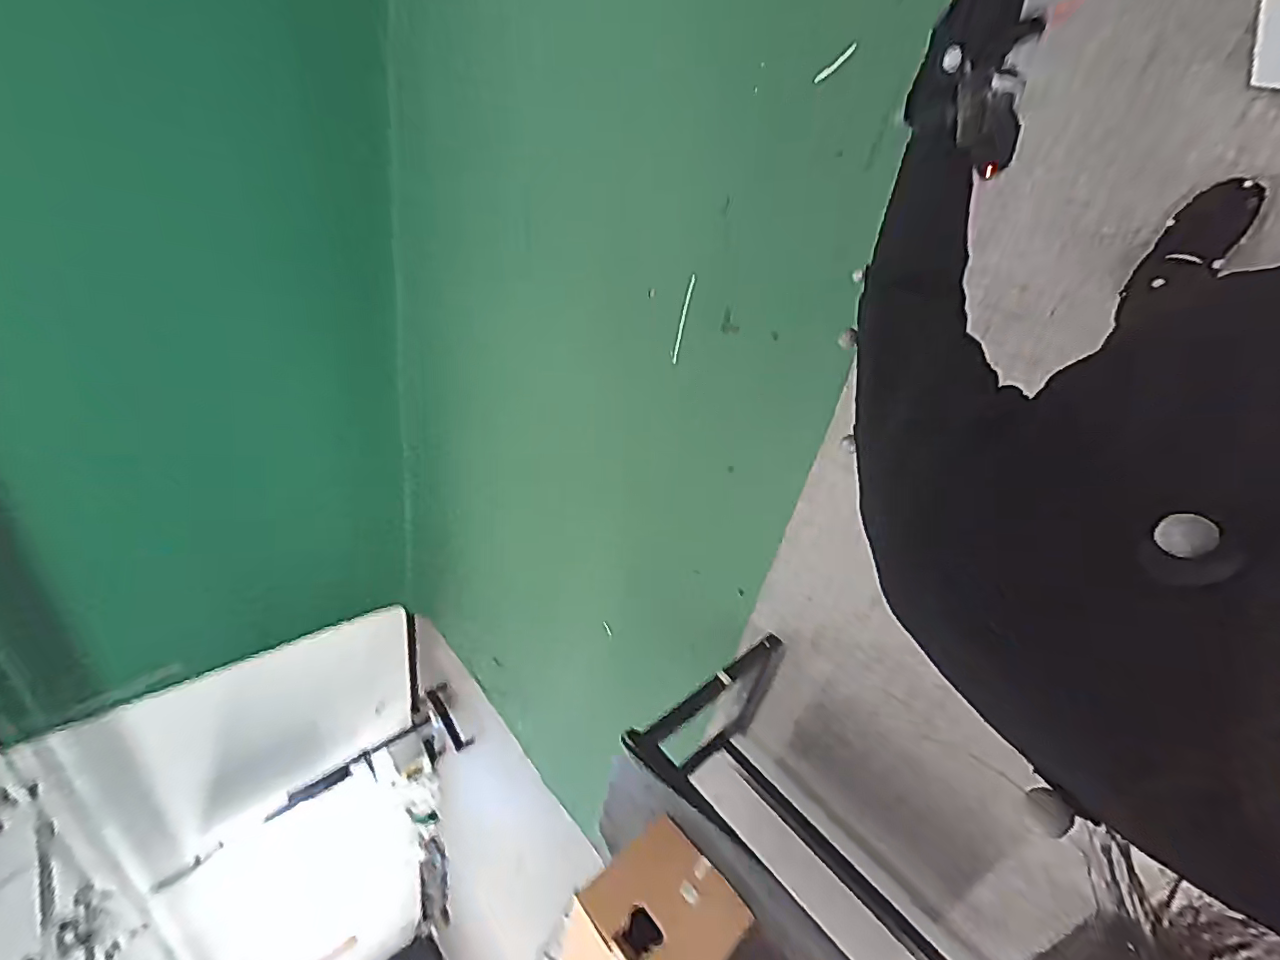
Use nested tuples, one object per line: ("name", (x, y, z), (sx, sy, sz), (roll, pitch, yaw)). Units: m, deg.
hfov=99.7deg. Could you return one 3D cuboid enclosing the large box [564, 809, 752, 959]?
("large box", (0.034, 1.152, 1.371), (0.320, 0.320, 0.408), (35, 129, 35))
